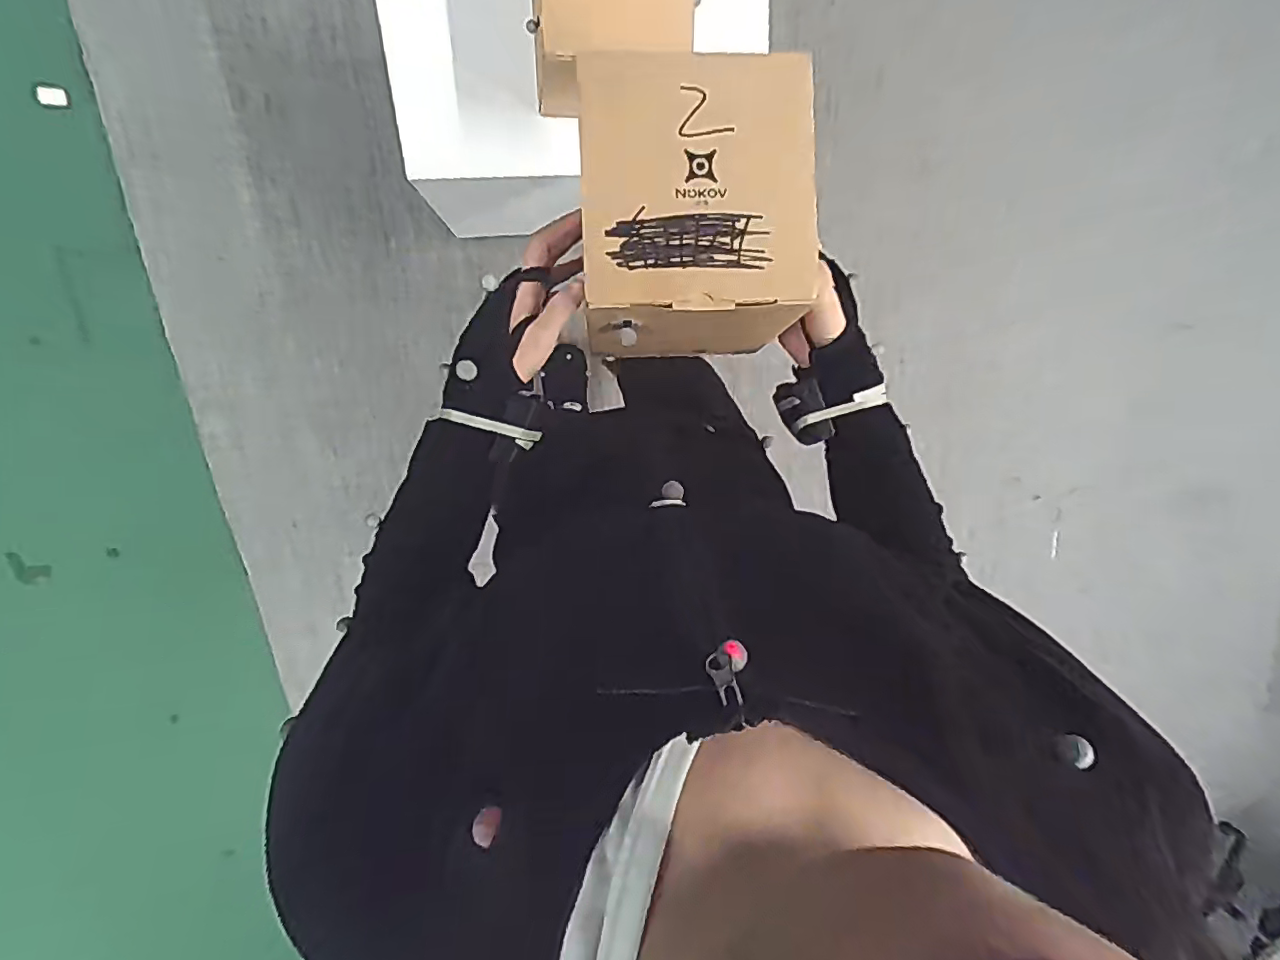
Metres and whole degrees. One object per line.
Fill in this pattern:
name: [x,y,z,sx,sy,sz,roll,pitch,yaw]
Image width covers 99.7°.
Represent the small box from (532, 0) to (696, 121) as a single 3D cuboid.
small box: [-0.038,-0.547,0.623,0.168,0.176,0.179,-5,106,-10]
